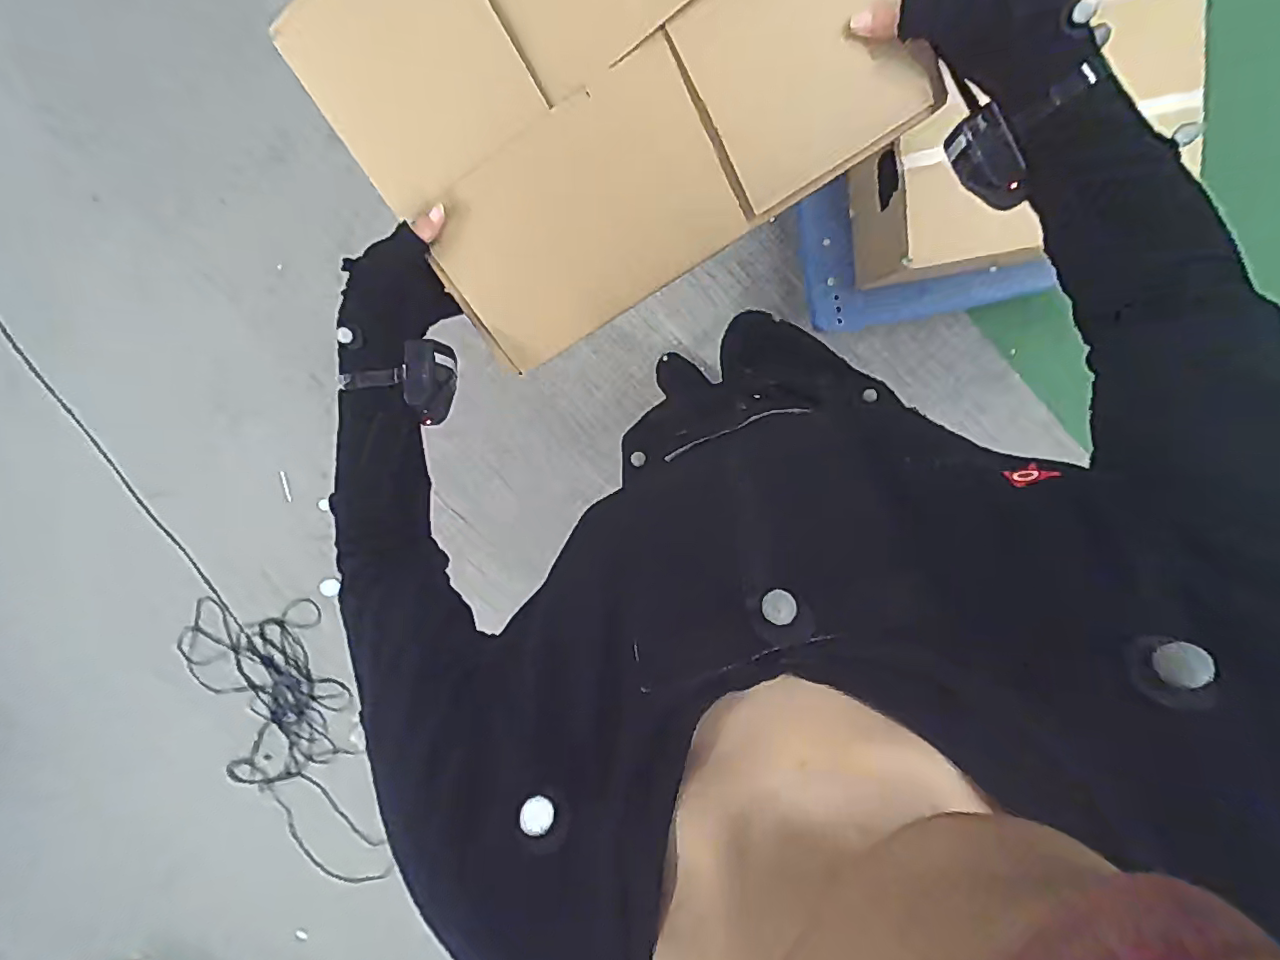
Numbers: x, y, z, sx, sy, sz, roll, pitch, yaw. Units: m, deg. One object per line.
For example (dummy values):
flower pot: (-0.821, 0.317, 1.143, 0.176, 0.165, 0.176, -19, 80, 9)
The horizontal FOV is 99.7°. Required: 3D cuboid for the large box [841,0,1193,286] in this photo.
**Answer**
large box: (0.599, -0.543, 0.935, 0.408, 0.320, 0.320, -8, 102, 10)
